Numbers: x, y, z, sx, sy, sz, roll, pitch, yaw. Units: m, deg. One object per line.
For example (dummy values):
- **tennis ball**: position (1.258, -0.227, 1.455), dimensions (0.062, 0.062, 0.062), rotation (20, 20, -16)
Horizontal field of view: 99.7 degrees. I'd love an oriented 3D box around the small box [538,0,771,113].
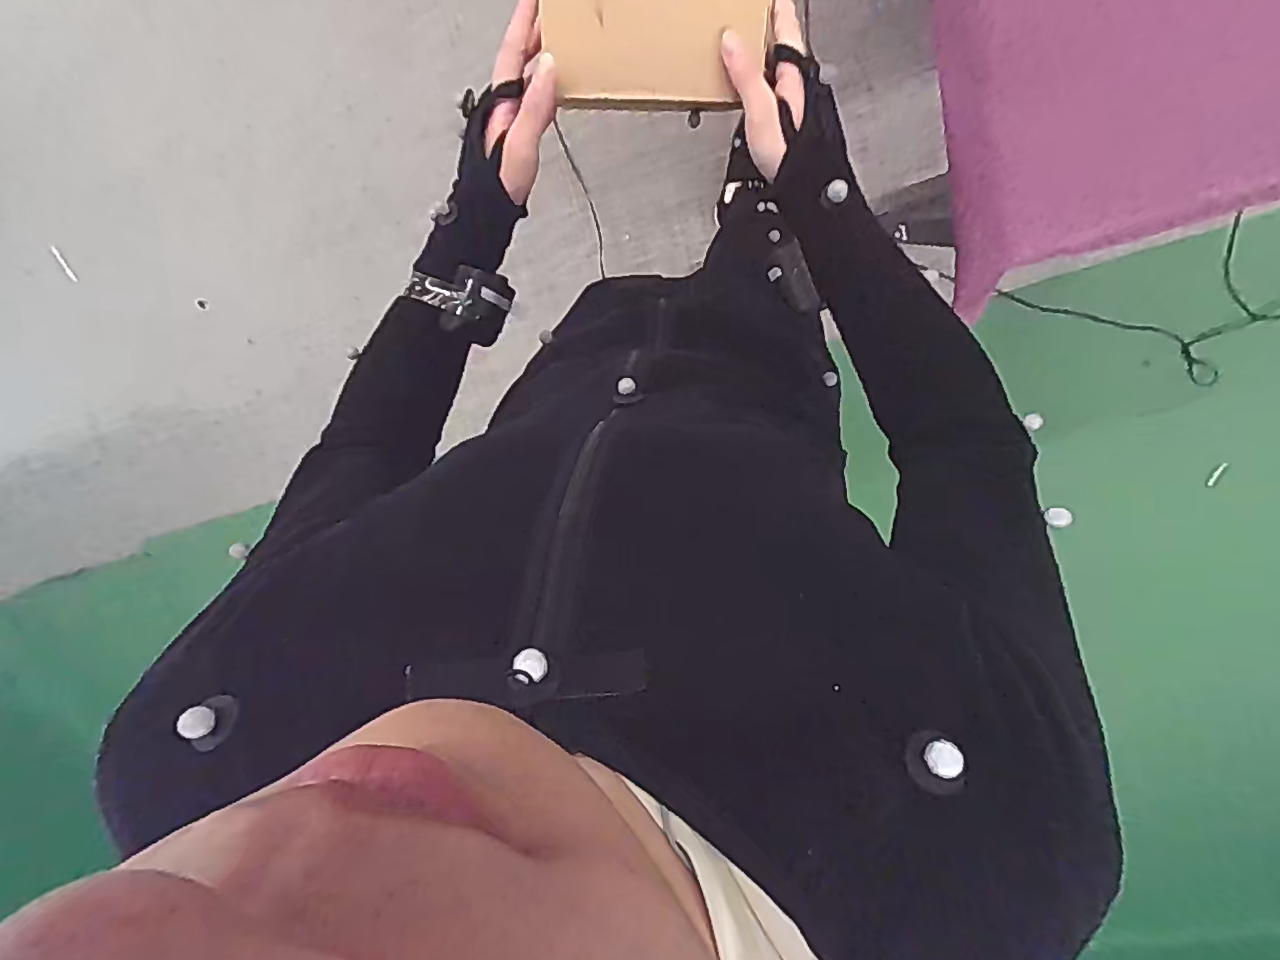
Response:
- **small box**: position (0.007, -0.415, 0.454), dimensions (0.179, 0.176, 0.168), rotation (-1, 121, -3)
